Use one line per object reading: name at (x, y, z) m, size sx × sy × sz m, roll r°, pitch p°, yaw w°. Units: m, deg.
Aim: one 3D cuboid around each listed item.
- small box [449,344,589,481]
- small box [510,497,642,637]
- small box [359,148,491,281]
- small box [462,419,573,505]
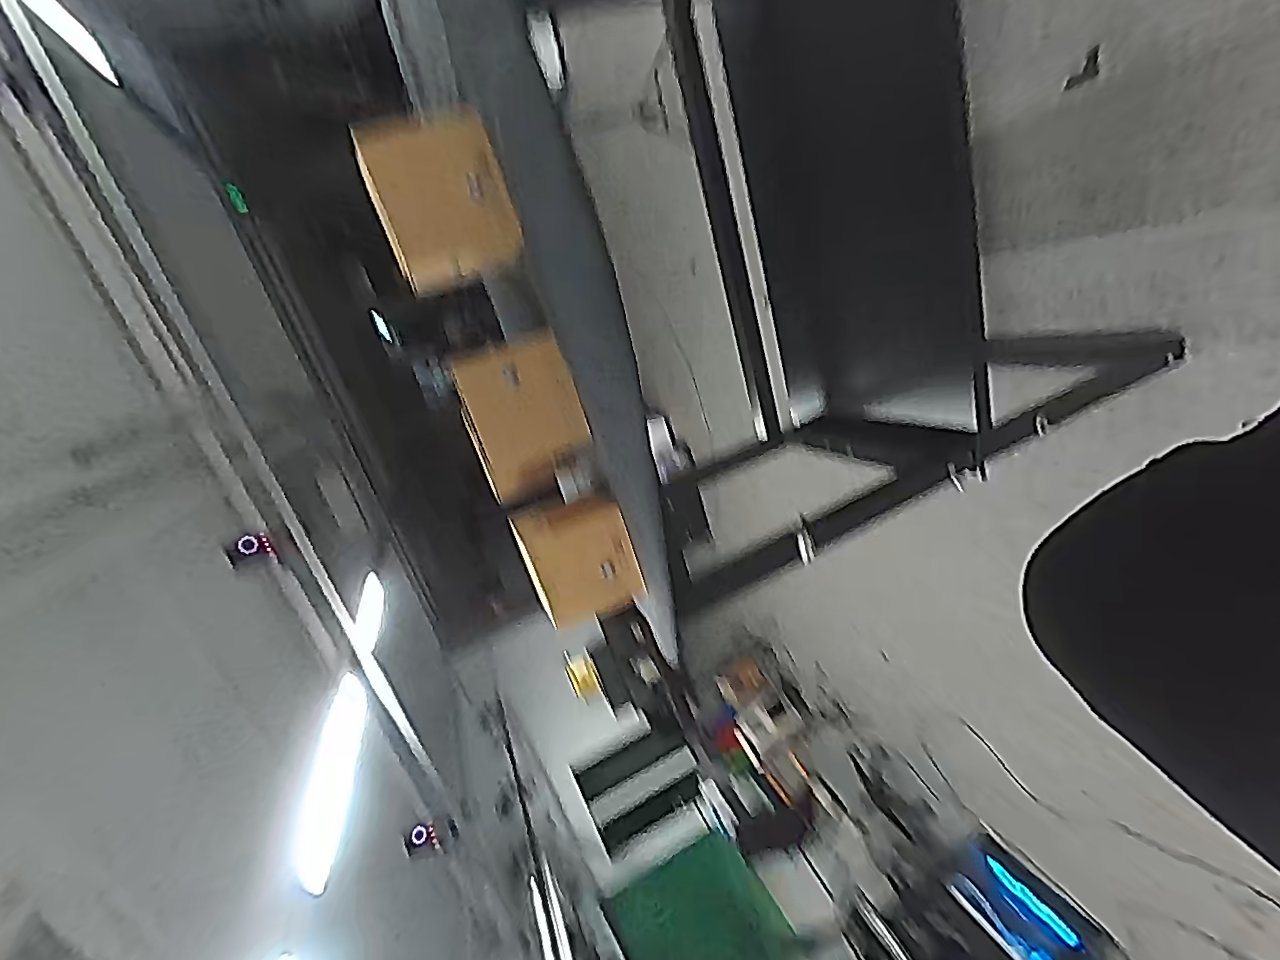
small box at (-0.201, -0.118, 0.887) m, size 0.168 × 0.176 × 0.179 m, roll -152°, pitch 43°, yaw -69°
small box at (-0.114, 0.142, 0.959) m, size 0.179 × 0.176 × 0.168 m, roll 21°, pitch 131°, yaw 68°
small box at (-0.384, -0.477, 0.987) m, size 0.179 × 0.176 × 0.168 m, roll 29°, pitch 140°, yaw 65°
small box at (-0.253, -0.070, 1.123) m, size 0.179 × 0.176 × 0.168 m, roll 30°, pitch 140°, yaw 66°
